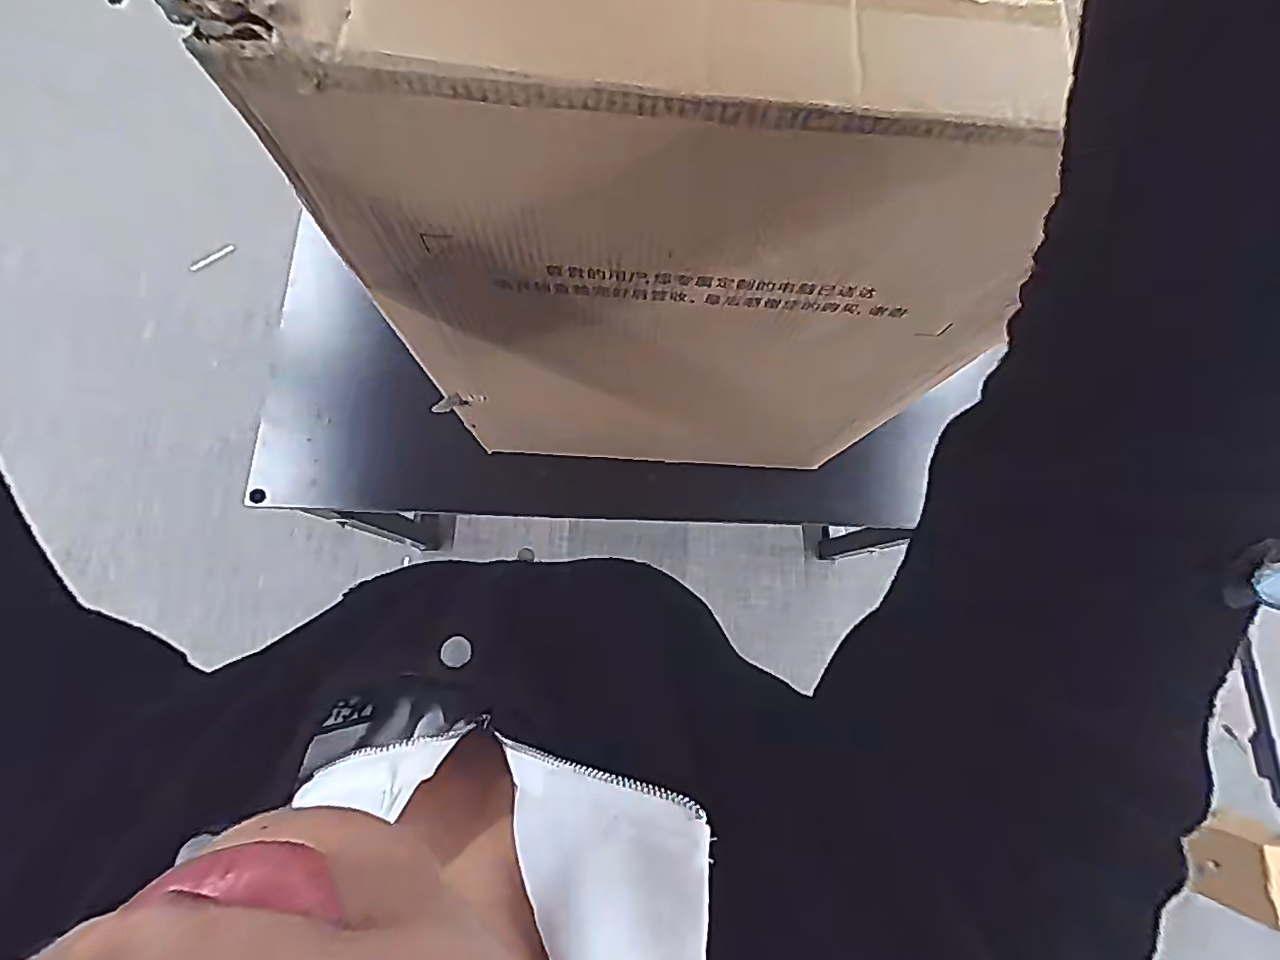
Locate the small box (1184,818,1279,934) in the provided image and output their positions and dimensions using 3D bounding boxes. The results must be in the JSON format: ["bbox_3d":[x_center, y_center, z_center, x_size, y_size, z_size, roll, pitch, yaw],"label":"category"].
[{"bbox_3d":[1.398,0.878,1.212,0.179,0.176,0.168,2,76,-3],"label":"small box"}]

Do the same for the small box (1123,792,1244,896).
[{"bbox_3d":[1.387,0.911,1.374,0.168,0.176,0.179,-1,77,-4],"label":"small box"}]
